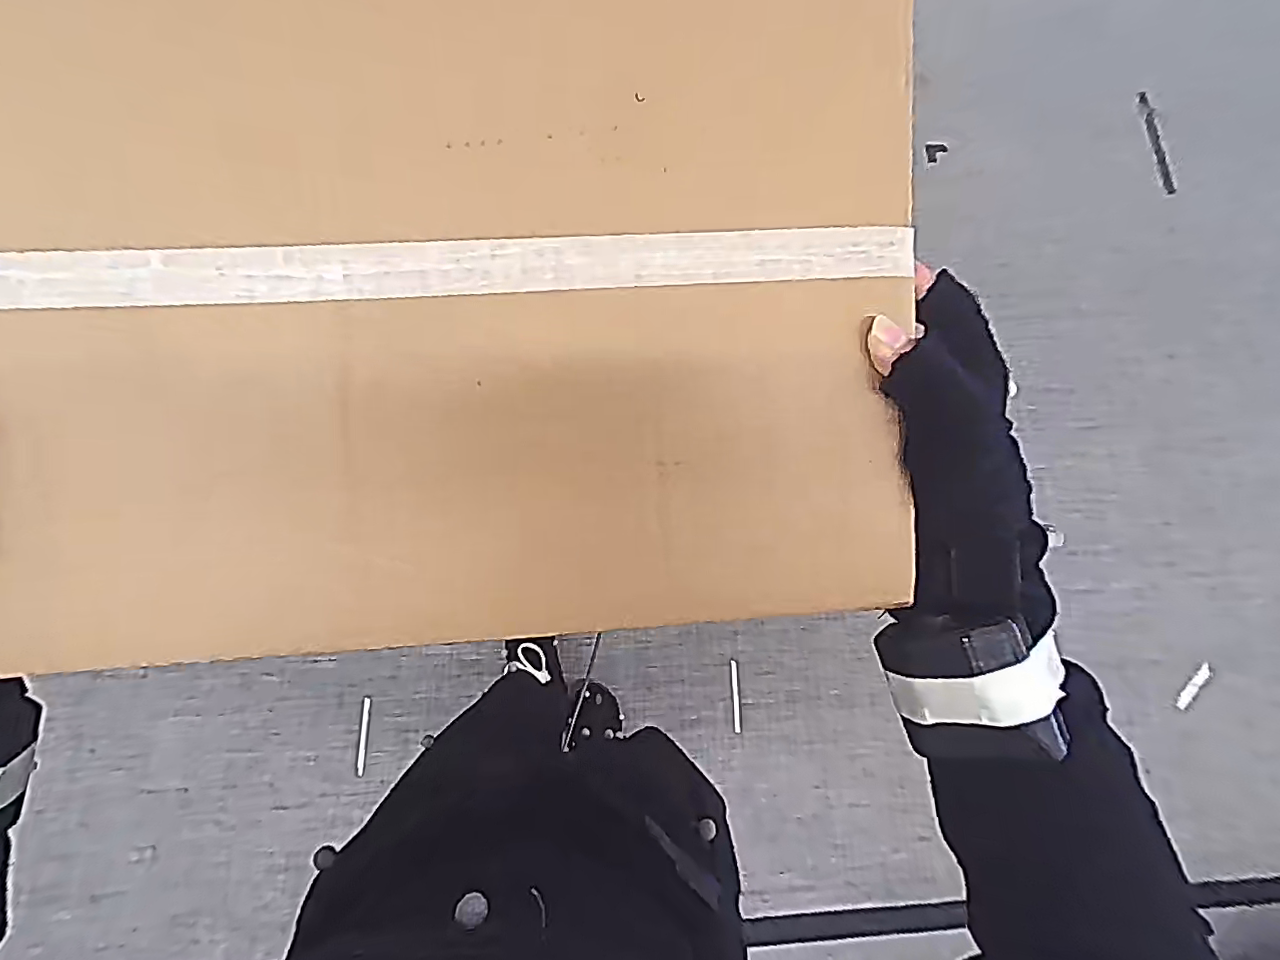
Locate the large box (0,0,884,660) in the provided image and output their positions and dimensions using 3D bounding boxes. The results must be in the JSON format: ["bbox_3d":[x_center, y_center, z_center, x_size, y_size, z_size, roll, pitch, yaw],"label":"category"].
[{"bbox_3d":[-0.097,-0.101,0.380,0.408,0.320,0.320,-3,95,-5],"label":"large box"}]
